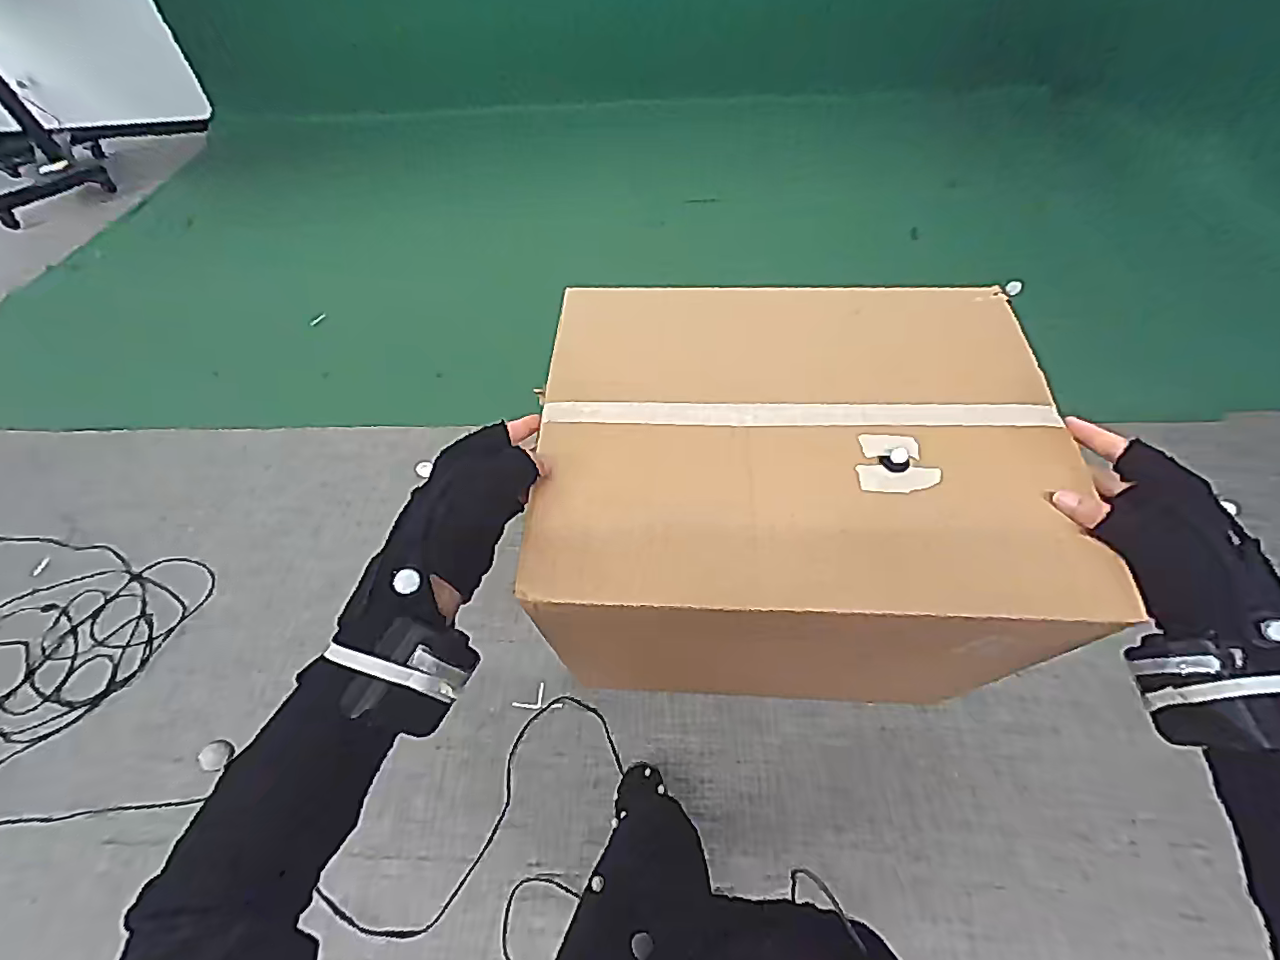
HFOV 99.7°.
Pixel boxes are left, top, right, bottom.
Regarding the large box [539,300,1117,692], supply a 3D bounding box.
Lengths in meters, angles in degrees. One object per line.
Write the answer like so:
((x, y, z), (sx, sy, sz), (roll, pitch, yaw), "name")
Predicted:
((0.132, 0.033, 0.574), (0.408, 0.320, 0.320), (1, 59, 3), "large box")
